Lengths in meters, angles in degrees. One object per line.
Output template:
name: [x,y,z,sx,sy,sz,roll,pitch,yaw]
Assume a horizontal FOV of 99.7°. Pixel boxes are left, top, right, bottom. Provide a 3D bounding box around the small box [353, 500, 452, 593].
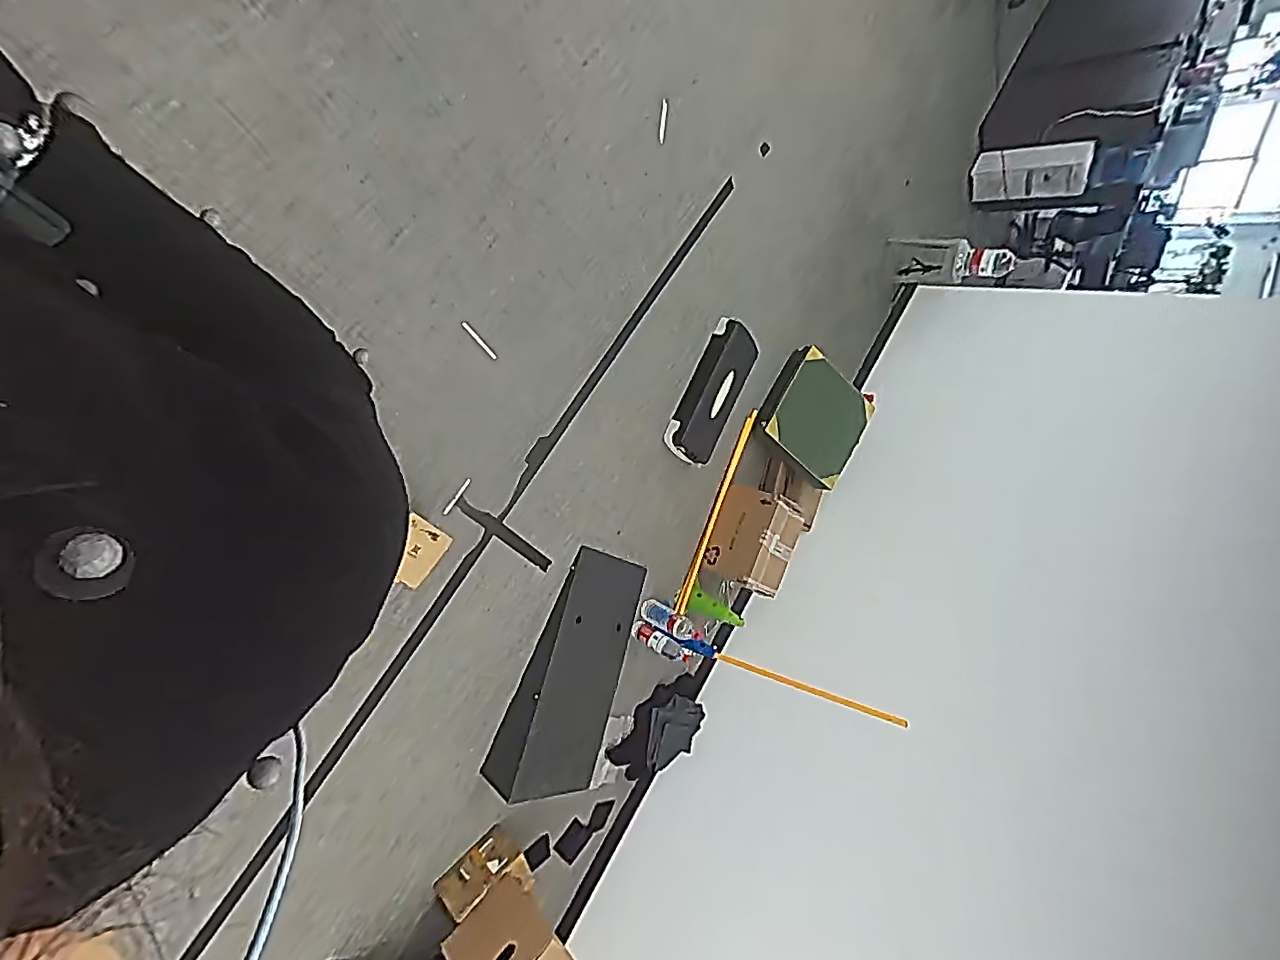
small box: [-0.680,0.186,1.533,0.179,0.176,0.168,-55,138,-16]
